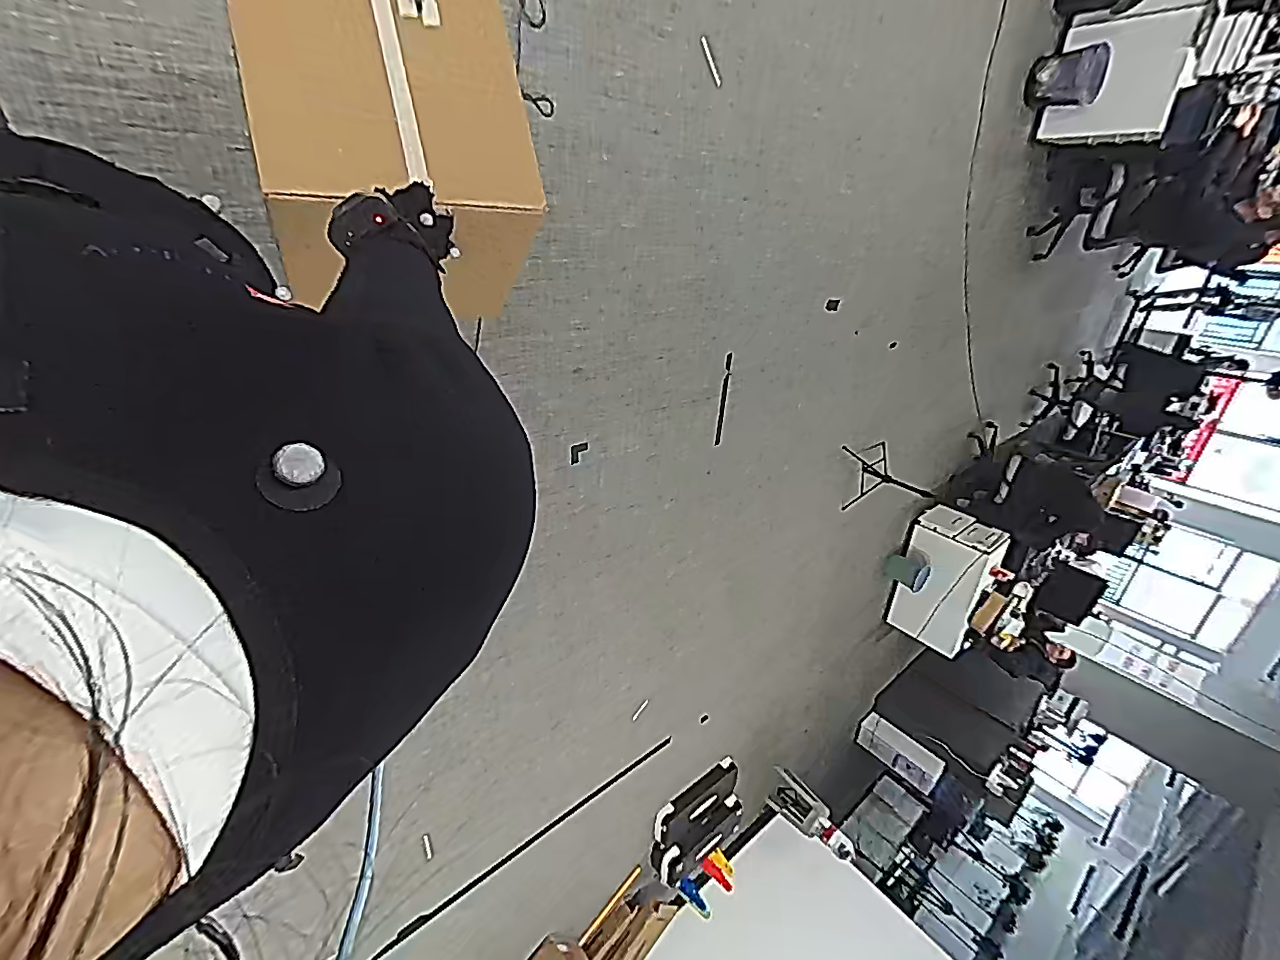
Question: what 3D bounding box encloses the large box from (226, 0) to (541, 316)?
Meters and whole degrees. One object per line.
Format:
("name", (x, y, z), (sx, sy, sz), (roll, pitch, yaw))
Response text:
("large box", (-0.374, -0.498, 0.792), (0.320, 0.320, 0.408), (-12, 86, -29))
